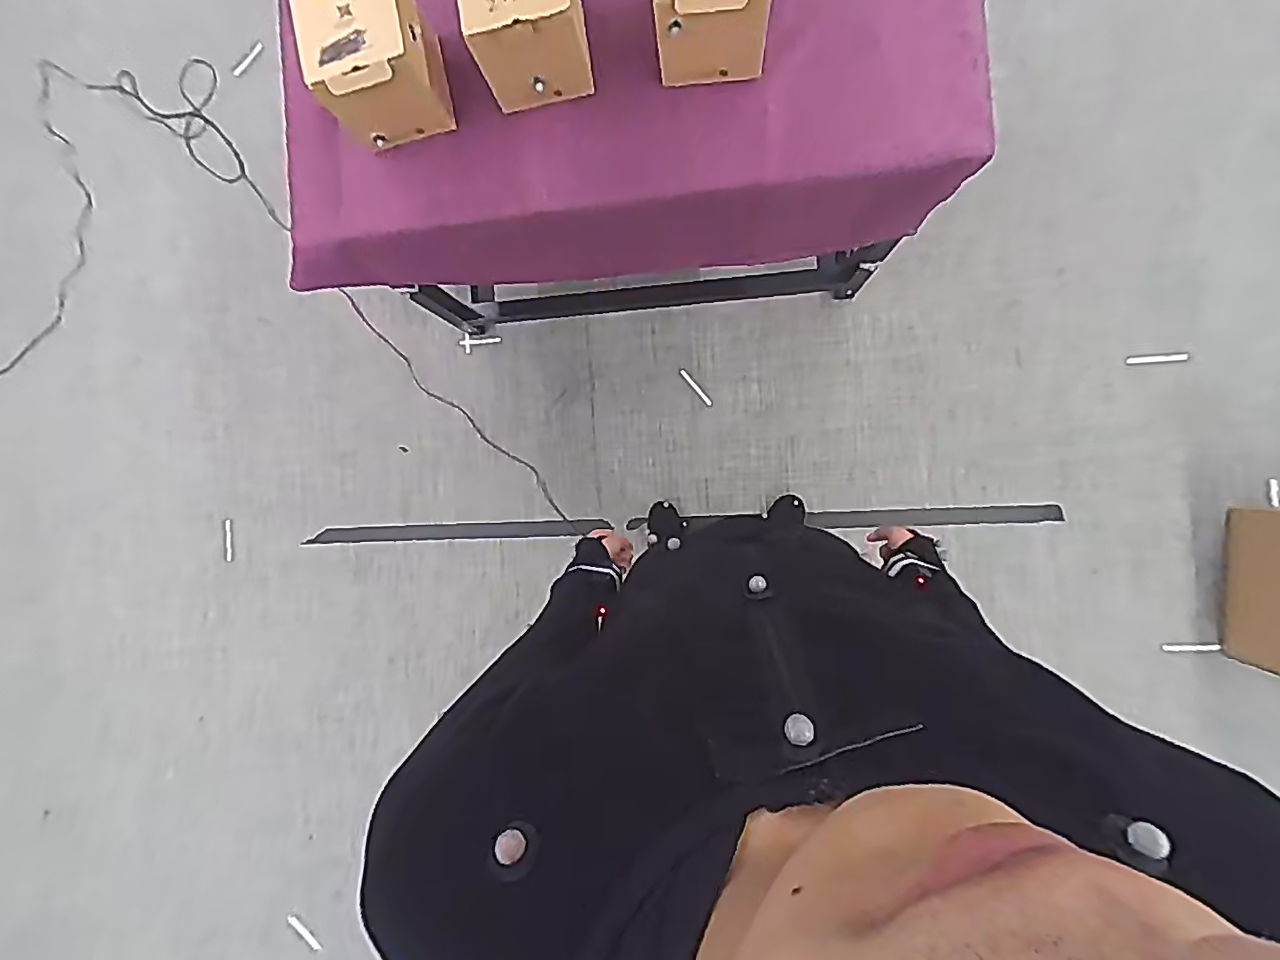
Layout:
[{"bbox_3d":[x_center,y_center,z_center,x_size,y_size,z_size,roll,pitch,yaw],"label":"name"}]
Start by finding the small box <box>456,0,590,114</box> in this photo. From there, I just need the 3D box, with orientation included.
[{"bbox_3d":[-0.184,-0.737,0.863,0.168,0.176,0.179,-8,89,7],"label":"small box"}]

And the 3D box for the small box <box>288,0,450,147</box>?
[{"bbox_3d":[-0.435,-0.687,0.891,0.168,0.176,0.179,-12,87,6],"label":"small box"}]
